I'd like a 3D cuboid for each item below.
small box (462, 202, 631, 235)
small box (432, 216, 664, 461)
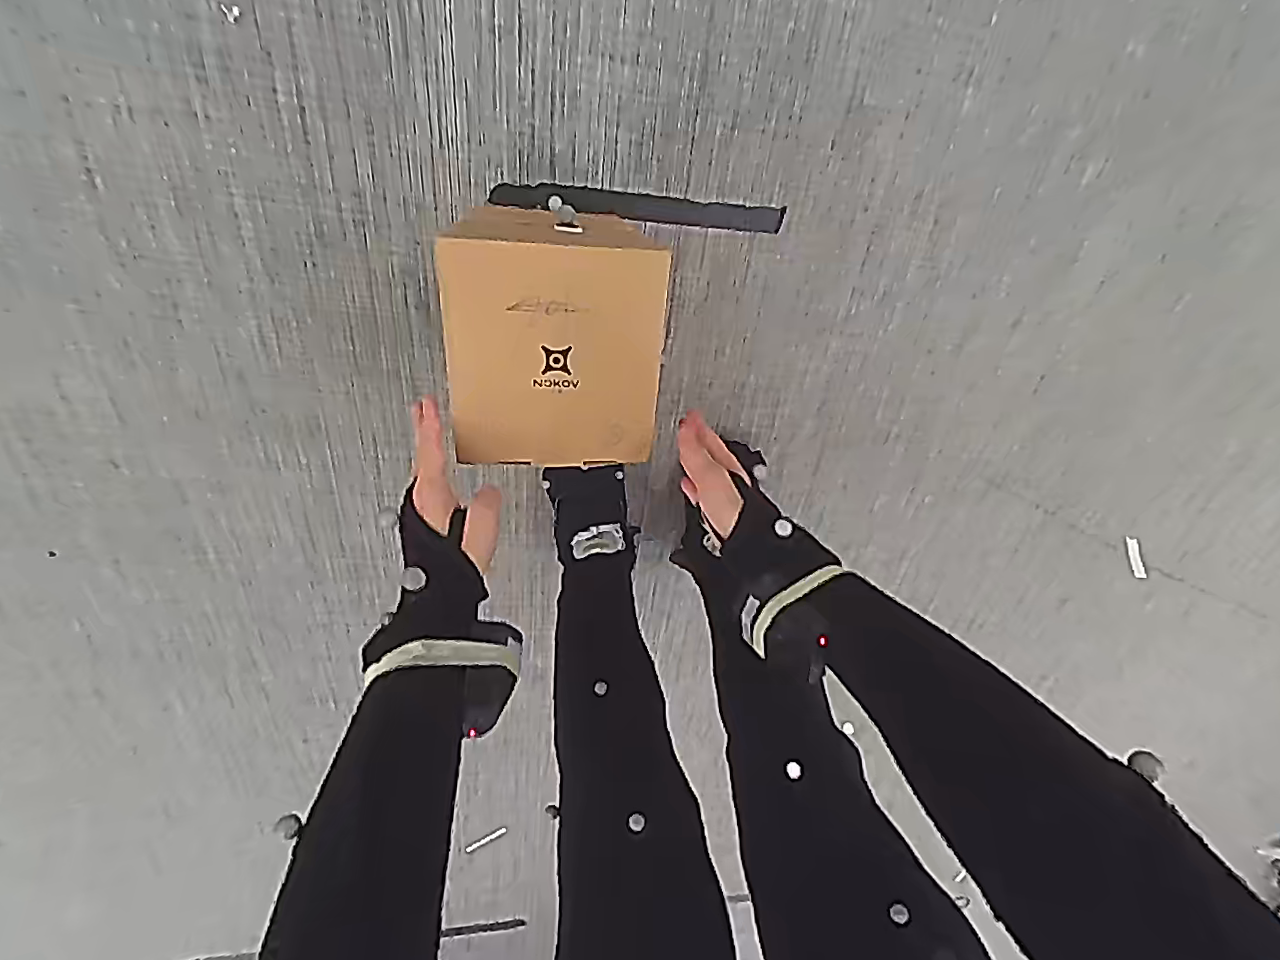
[{"bbox_3d":[-0.106,-0.213,0.627,0.168,0.176,0.179,0,120,-10],"label":"small box"},{"bbox_3d":[-0.080,-0.132,0.489,0.168,0.176,0.179,-2,120,-10],"label":"small box"}]
